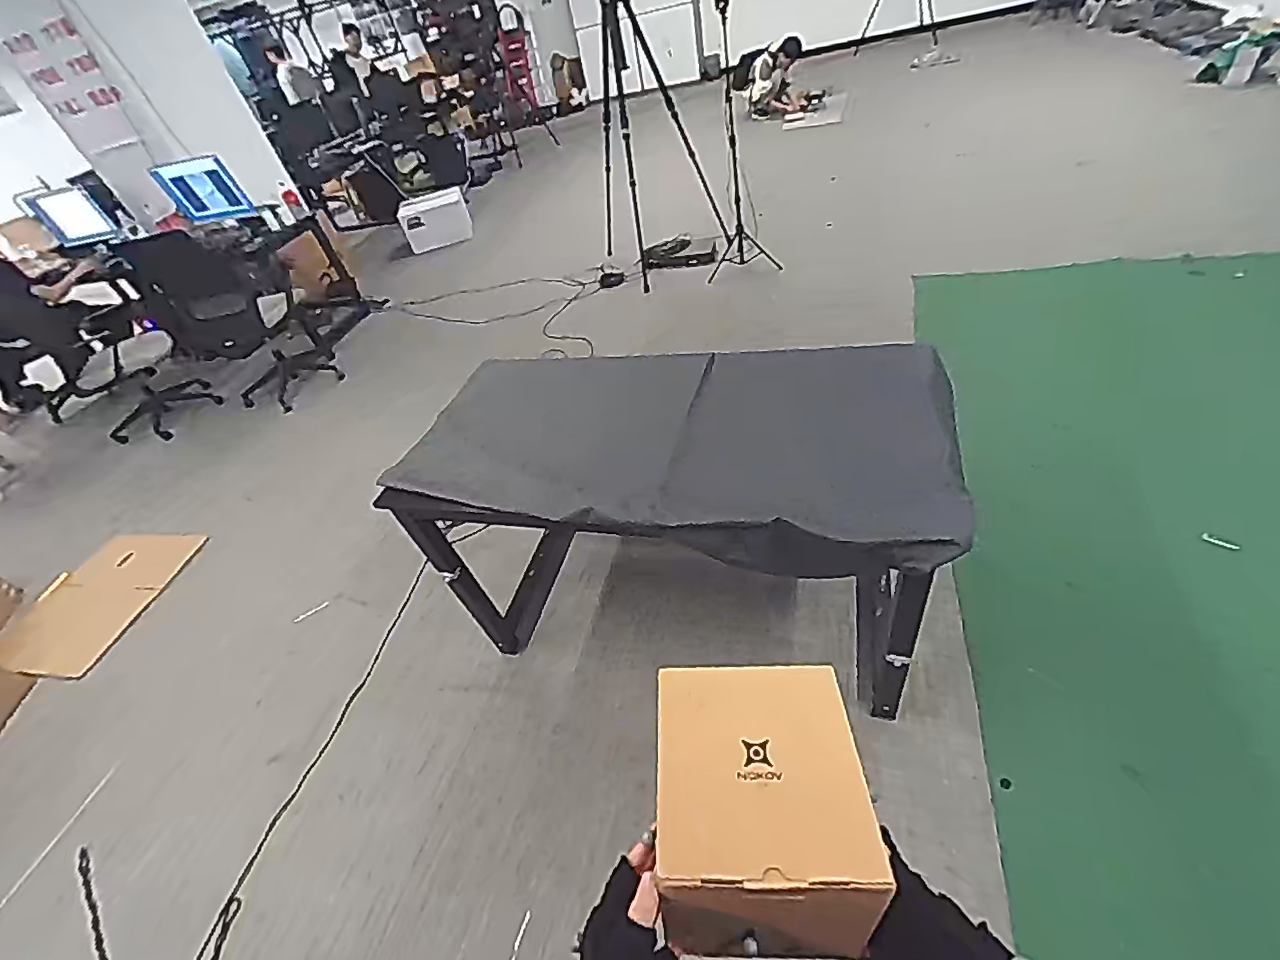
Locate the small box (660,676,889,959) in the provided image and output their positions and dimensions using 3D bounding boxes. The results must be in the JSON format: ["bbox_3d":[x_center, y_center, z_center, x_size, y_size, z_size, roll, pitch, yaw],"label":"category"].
[{"bbox_3d":[0.104,0.305,0.500,0.168,0.176,0.179,-2,37,4],"label":"small box"}]
